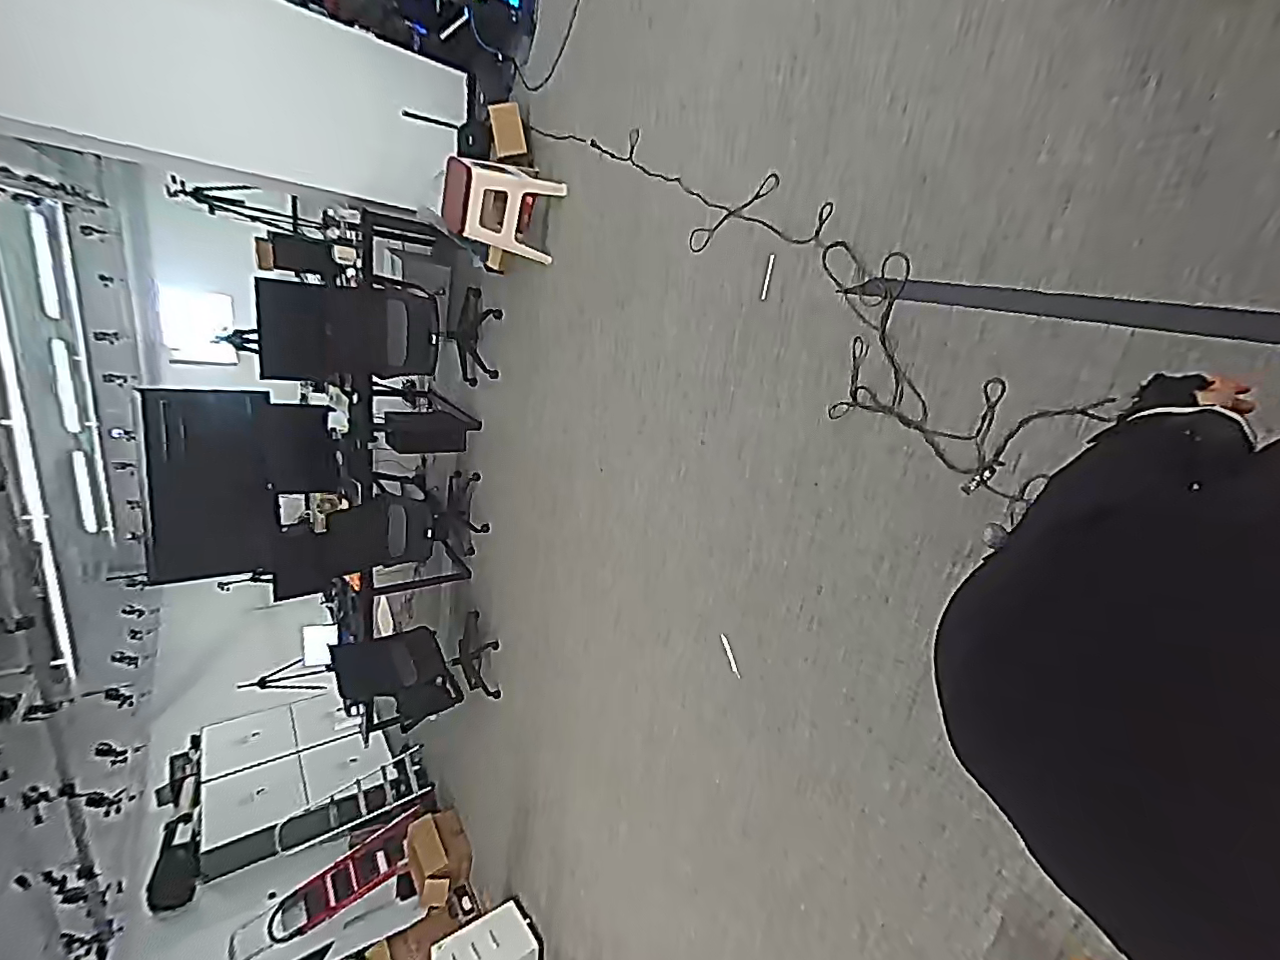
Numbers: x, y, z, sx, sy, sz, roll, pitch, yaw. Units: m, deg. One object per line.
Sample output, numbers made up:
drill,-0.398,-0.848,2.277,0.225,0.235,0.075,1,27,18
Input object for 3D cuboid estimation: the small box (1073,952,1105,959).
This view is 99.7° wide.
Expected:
small box,0.974,1.147,1.127,0.179,0.176,0.168,27,116,47
